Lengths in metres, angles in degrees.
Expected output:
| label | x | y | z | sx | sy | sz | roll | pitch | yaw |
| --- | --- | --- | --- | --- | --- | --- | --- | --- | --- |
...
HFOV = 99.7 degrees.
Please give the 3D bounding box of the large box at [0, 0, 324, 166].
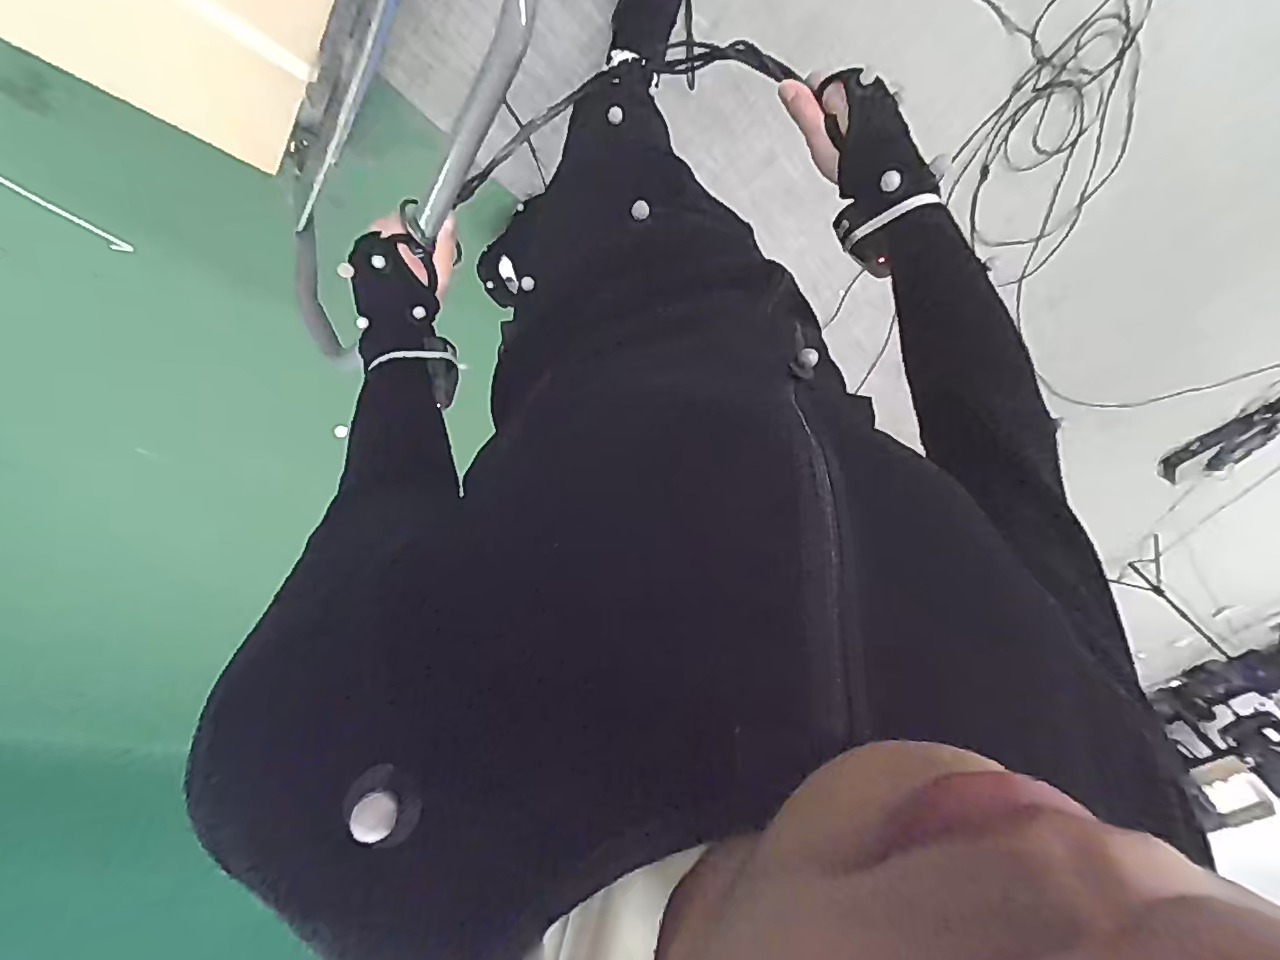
| label | x | y | z | sx | sy | sz | roll | pitch | yaw |
| --- | --- | --- | --- | --- | --- | --- | --- | --- | --- |
| large box | -0.637 | -0.702 | 0.676 | 0.408 | 0.320 | 0.320 | 16 | 129 | -41 |
